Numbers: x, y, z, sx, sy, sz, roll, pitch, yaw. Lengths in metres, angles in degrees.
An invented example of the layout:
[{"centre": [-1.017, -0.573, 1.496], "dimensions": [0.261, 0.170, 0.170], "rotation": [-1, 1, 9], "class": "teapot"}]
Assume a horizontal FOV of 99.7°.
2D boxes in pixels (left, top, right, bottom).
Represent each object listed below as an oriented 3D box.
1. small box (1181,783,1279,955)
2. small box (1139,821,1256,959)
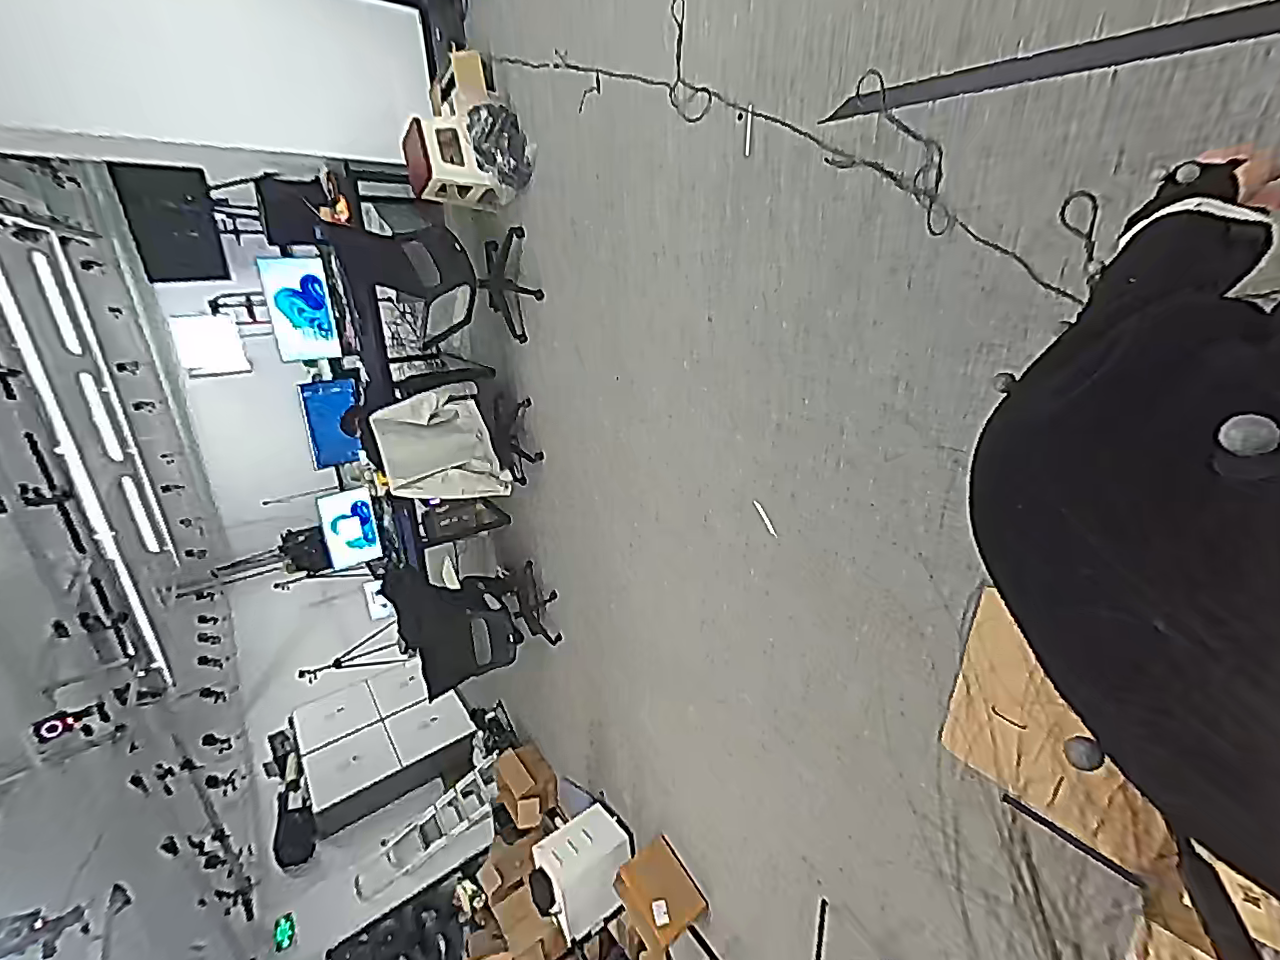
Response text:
[{"centre": [1.104, 0.695, 0.967], "dimensions": [0.168, 0.176, 0.179], "rotation": [7, 109, 51], "class": "small box"}, {"centre": [1.228, 0.904, 1.178], "dimensions": [0.168, 0.176, 0.179], "rotation": [13, 114, 51], "class": "small box"}]
